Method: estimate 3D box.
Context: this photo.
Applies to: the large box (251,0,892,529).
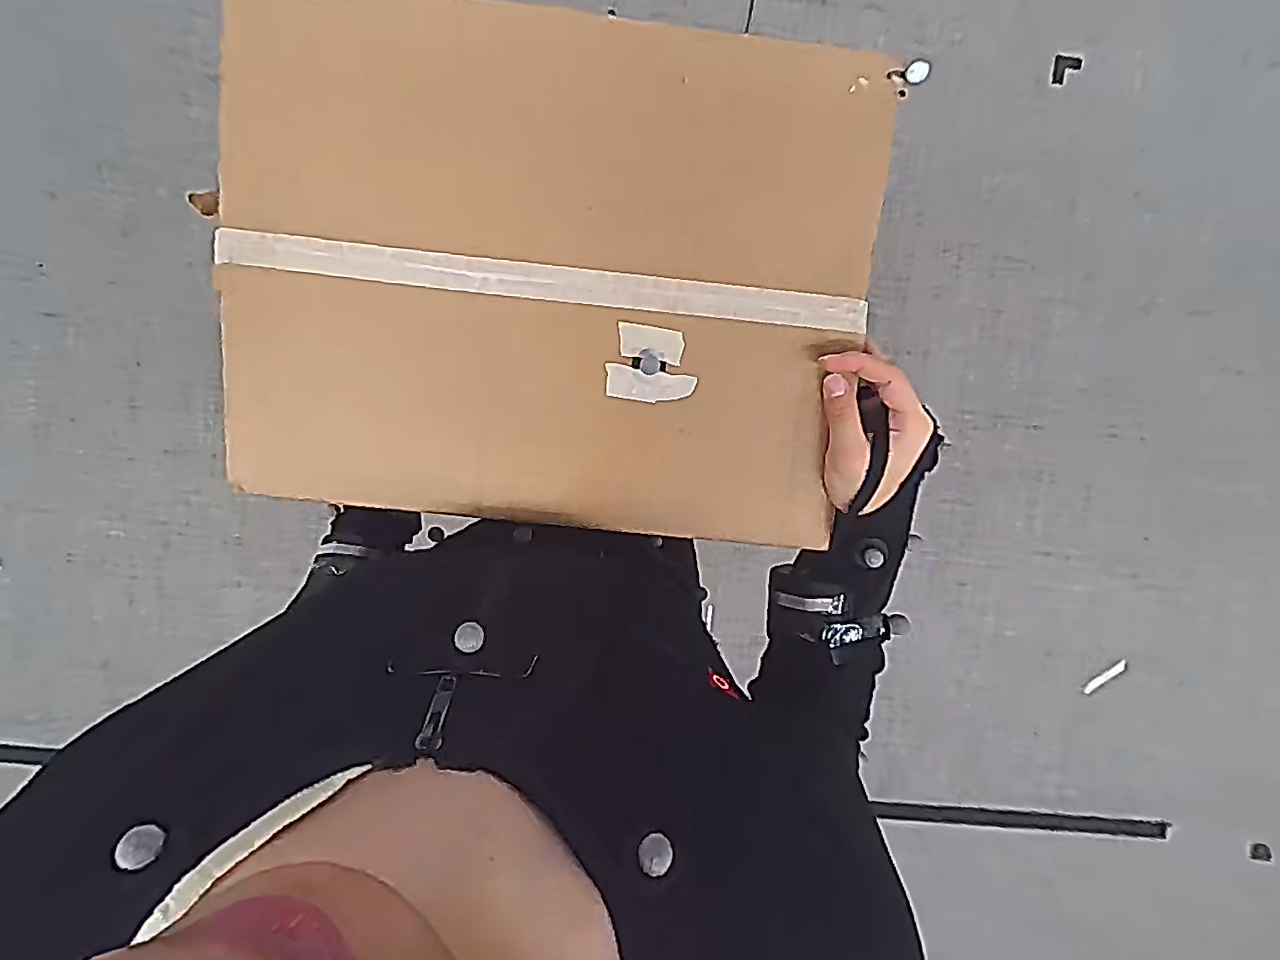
[{"bbox_3d":[-0.056,-0.150,0.500,0.408,0.320,0.320,5,99,-4],"label":"large box"}]
